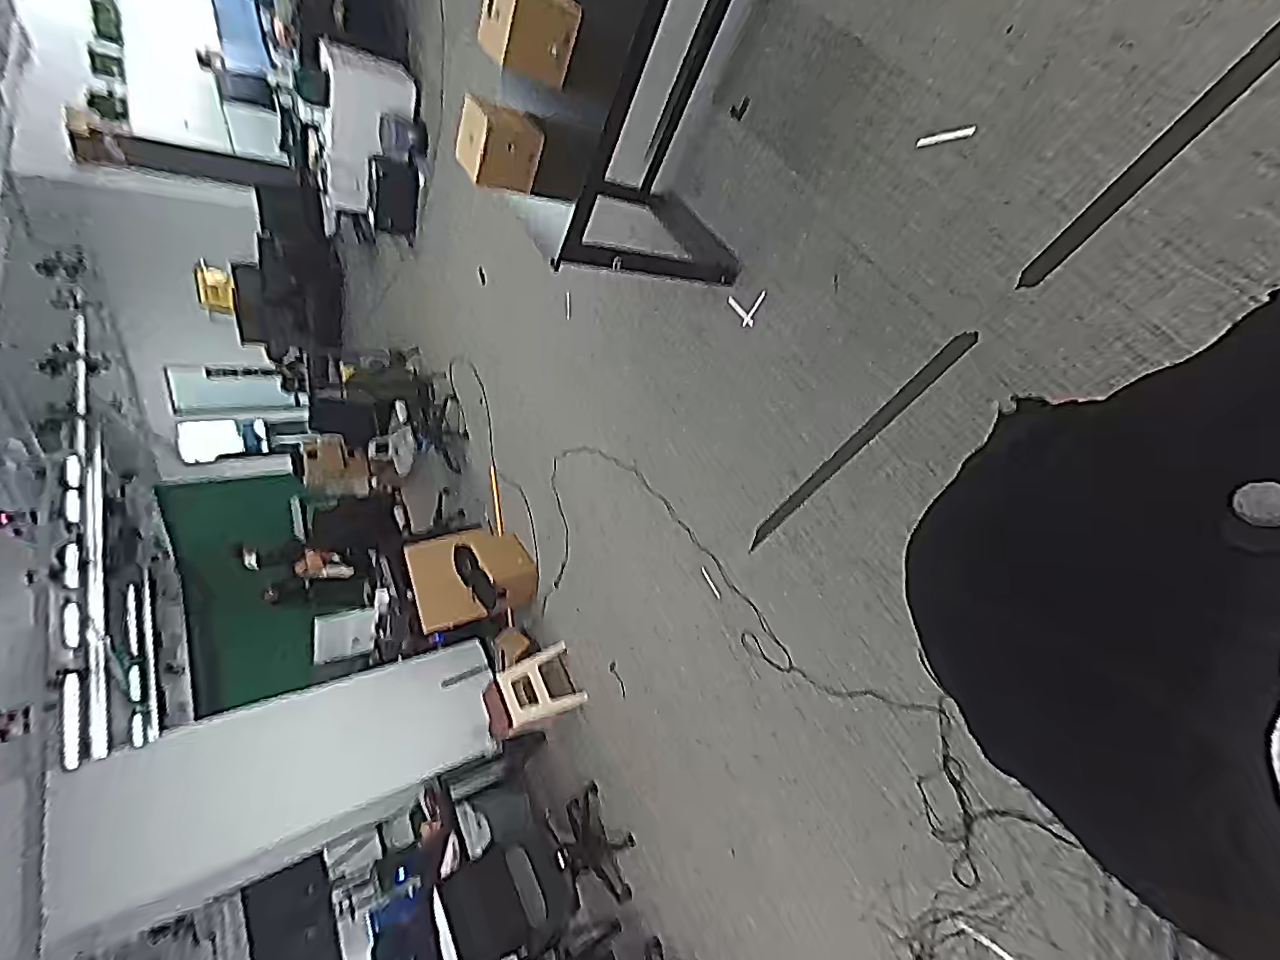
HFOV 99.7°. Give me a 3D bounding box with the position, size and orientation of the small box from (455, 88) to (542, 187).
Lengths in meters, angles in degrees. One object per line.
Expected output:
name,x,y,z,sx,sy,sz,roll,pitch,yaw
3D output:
small box,-0.393,-0.945,1.507,0.179,0.176,0.168,58,136,28

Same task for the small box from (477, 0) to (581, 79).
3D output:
small box,-0.271,-1.119,1.313,0.179,0.176,0.168,58,137,26
